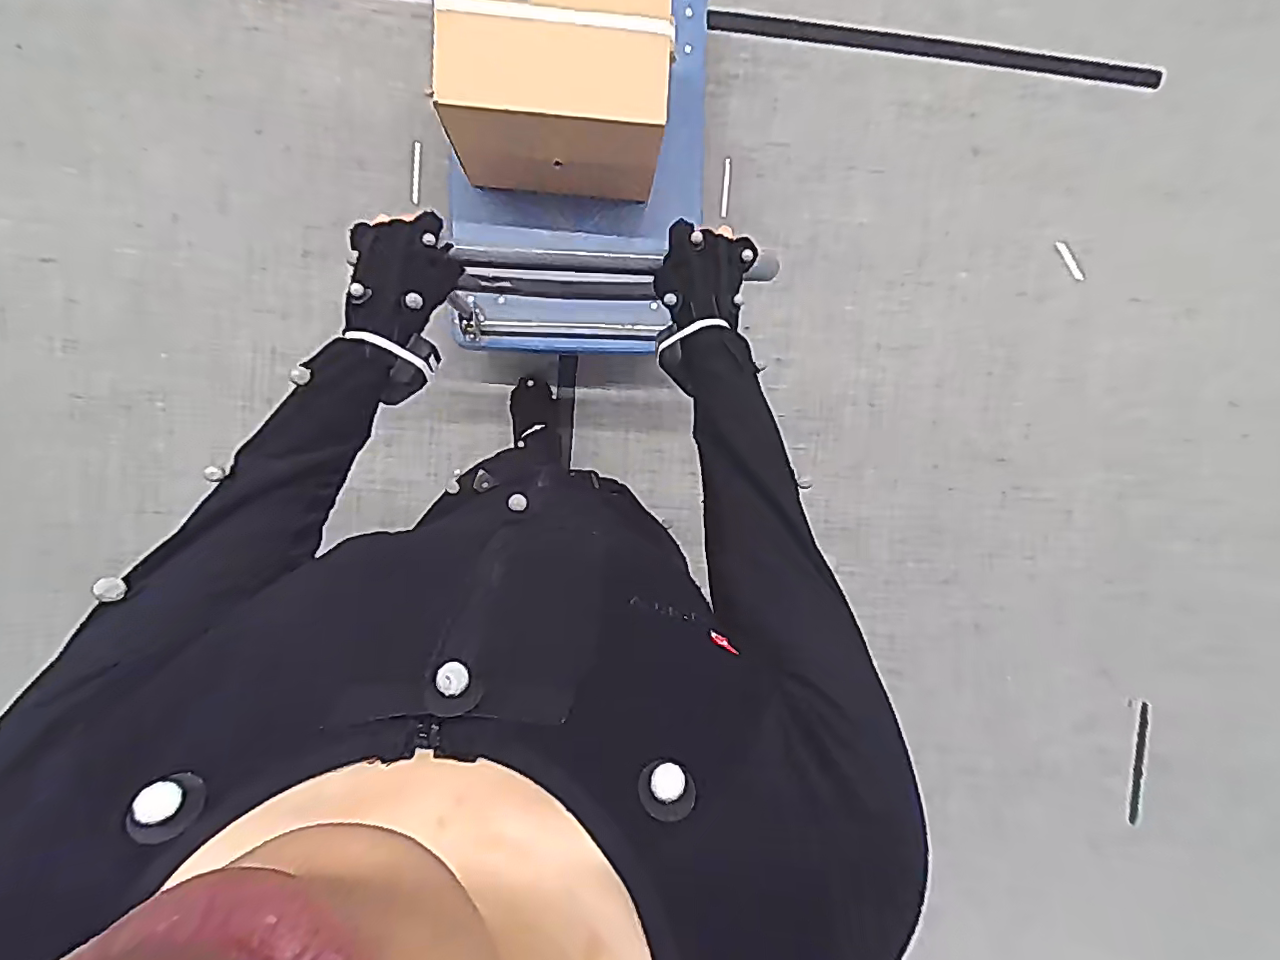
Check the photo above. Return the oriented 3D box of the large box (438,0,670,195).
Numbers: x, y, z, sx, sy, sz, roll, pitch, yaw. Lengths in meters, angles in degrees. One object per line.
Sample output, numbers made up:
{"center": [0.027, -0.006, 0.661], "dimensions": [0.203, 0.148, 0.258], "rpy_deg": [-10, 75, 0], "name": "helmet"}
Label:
{"center": [-0.156, -0.803, 1.084], "dimensions": [0.408, 0.320, 0.320], "rpy_deg": [2, 94, -4], "name": "large box"}
